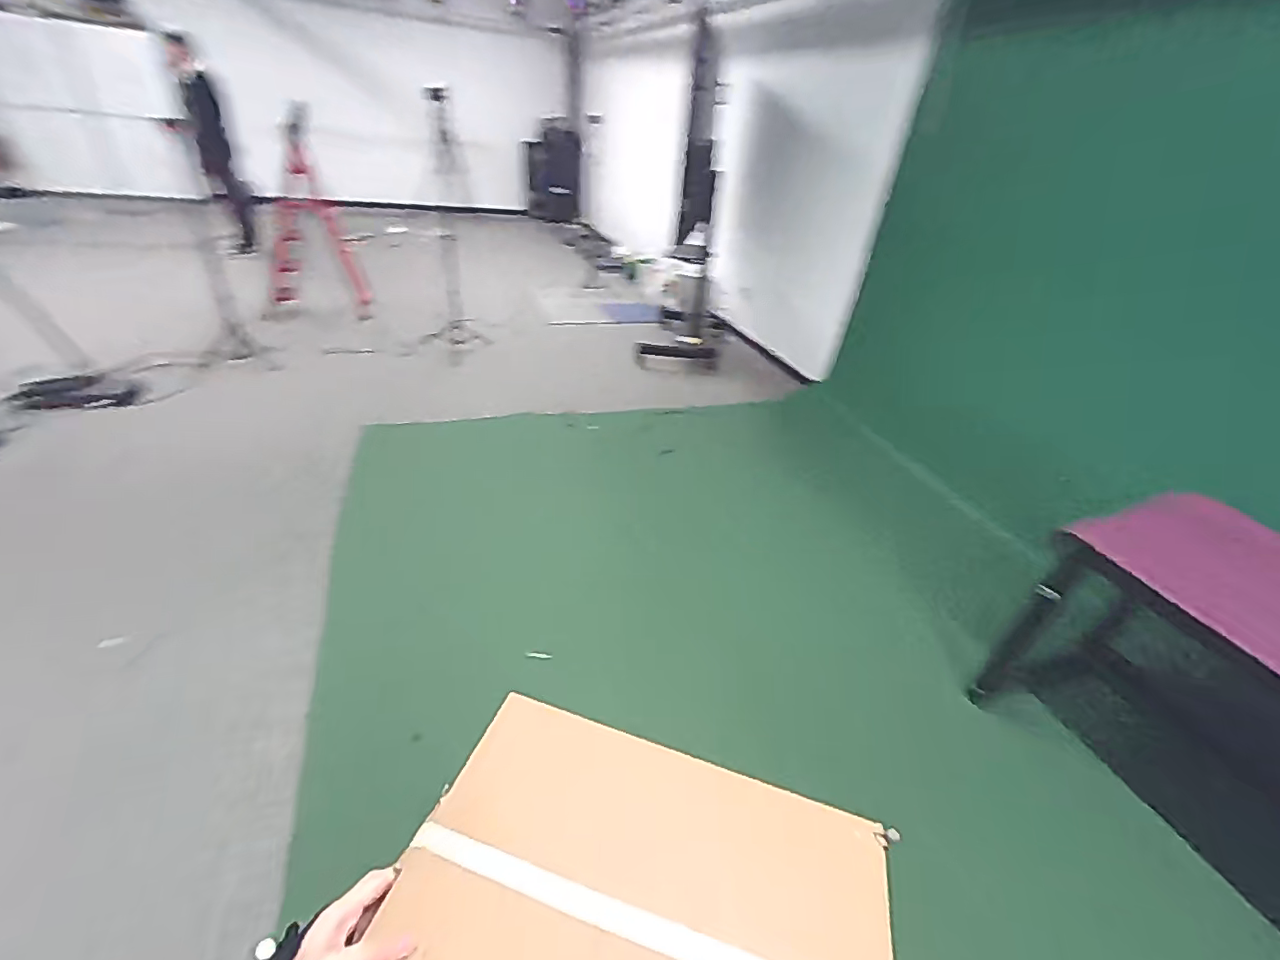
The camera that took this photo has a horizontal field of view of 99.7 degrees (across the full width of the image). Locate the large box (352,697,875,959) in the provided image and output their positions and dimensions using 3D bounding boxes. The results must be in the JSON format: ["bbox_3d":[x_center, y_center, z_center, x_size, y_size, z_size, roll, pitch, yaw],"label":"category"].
[{"bbox_3d":[-0.025,0.487,0.530,0.408,0.320,0.320,15,33,9],"label":"large box"}]
